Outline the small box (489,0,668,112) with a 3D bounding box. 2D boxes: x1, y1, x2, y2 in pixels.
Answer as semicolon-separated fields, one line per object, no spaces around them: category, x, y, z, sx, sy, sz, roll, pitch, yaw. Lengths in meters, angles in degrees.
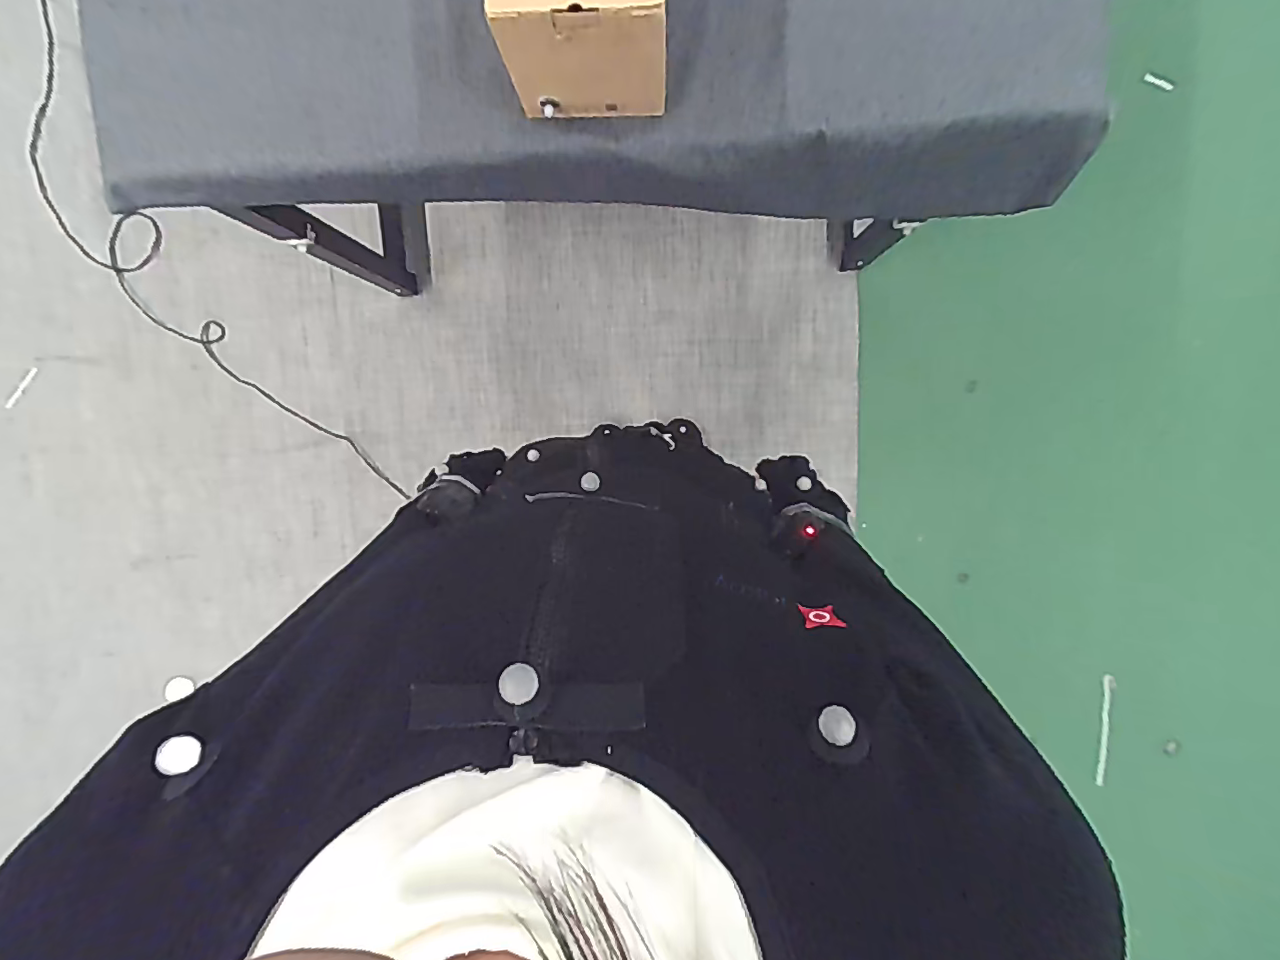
small box;-0.054;-0.519;0.566;0.168;0.176;0.179;1;95;1
